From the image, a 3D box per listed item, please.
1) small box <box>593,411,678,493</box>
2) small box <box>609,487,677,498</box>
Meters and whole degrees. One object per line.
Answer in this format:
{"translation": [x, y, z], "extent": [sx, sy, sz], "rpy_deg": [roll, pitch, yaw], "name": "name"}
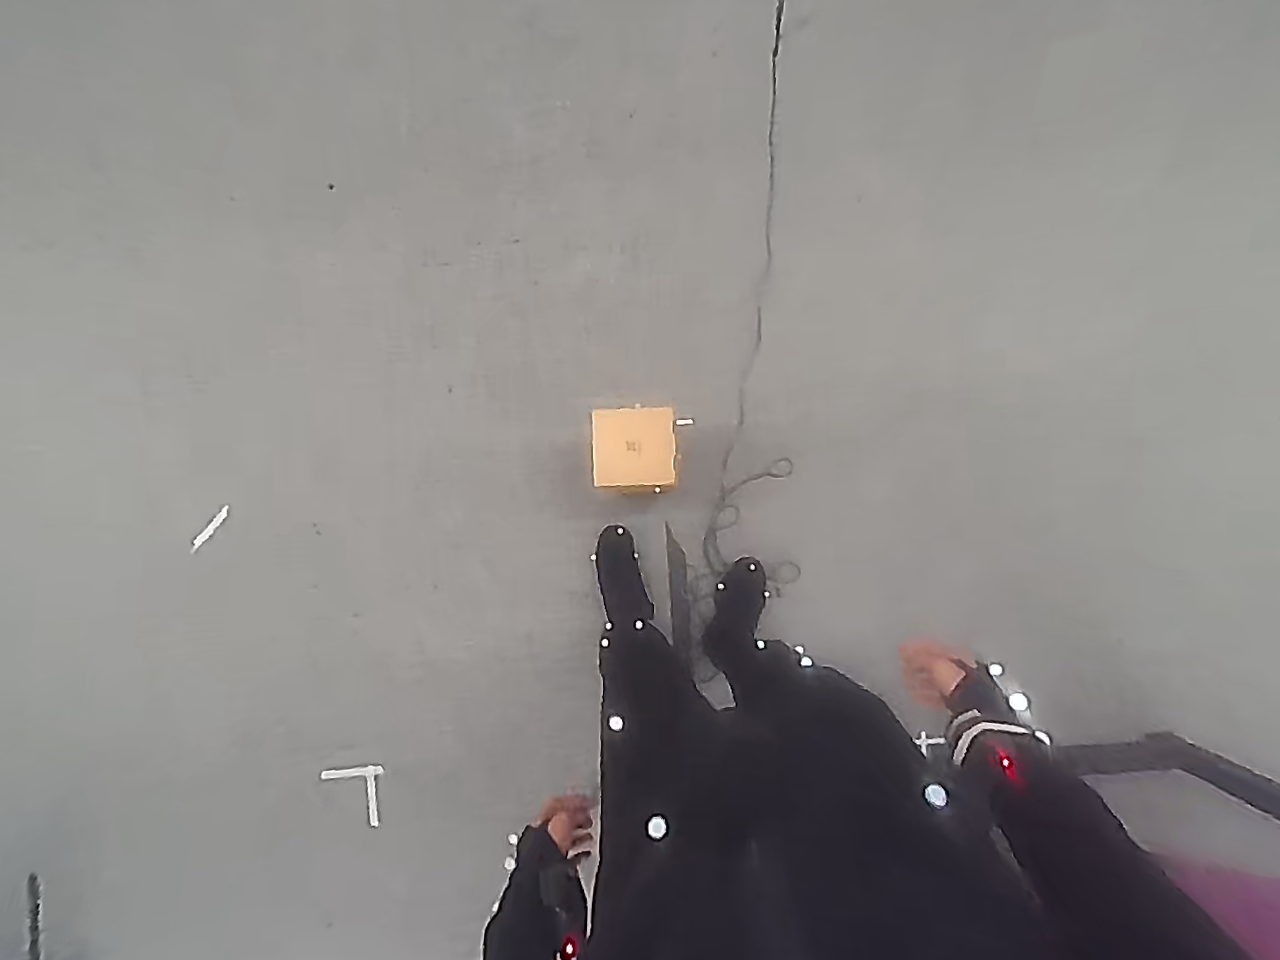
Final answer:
{"translation": [-0.004, -0.057, 1.219], "extent": [0.179, 0.176, 0.168], "rpy_deg": [-2, 86, 4], "name": "small box"}
{"translation": [0.007, -0.048, 1.381], "extent": [0.168, 0.176, 0.179], "rpy_deg": [-4, 87, 4], "name": "small box"}
